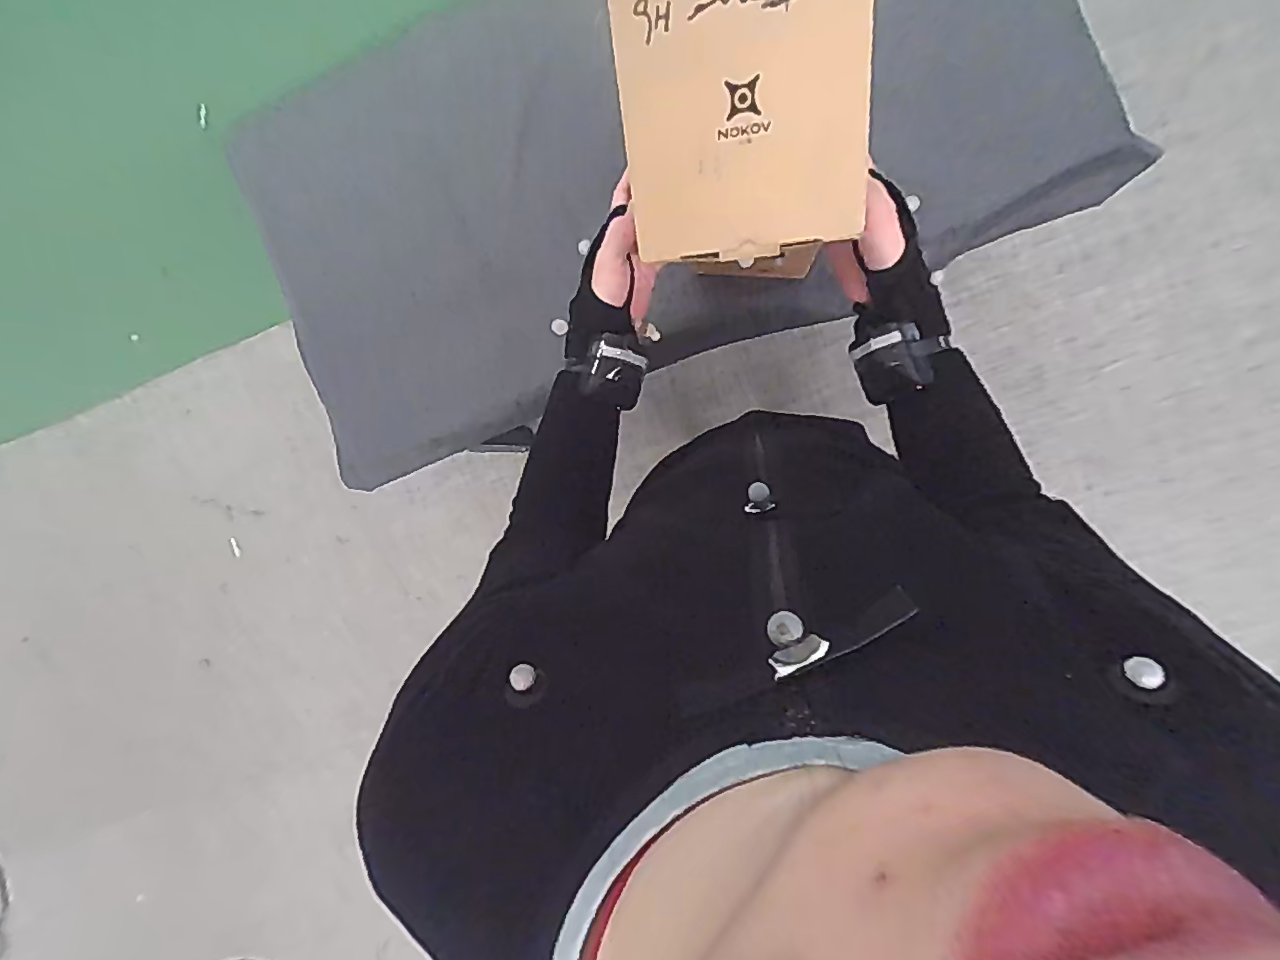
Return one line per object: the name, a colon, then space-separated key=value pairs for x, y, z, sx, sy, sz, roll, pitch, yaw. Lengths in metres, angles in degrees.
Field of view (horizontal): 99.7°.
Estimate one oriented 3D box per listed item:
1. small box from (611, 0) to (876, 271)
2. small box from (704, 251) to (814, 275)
small box: x=0.082 y=-0.279 z=0.436 sx=0.168 sy=0.176 sz=0.179 roll=-4 pitch=116 yaw=10
small box: x=0.157 y=-0.383 z=0.711 sx=0.168 sy=0.176 sz=0.179 roll=5 pitch=92 yaw=7
